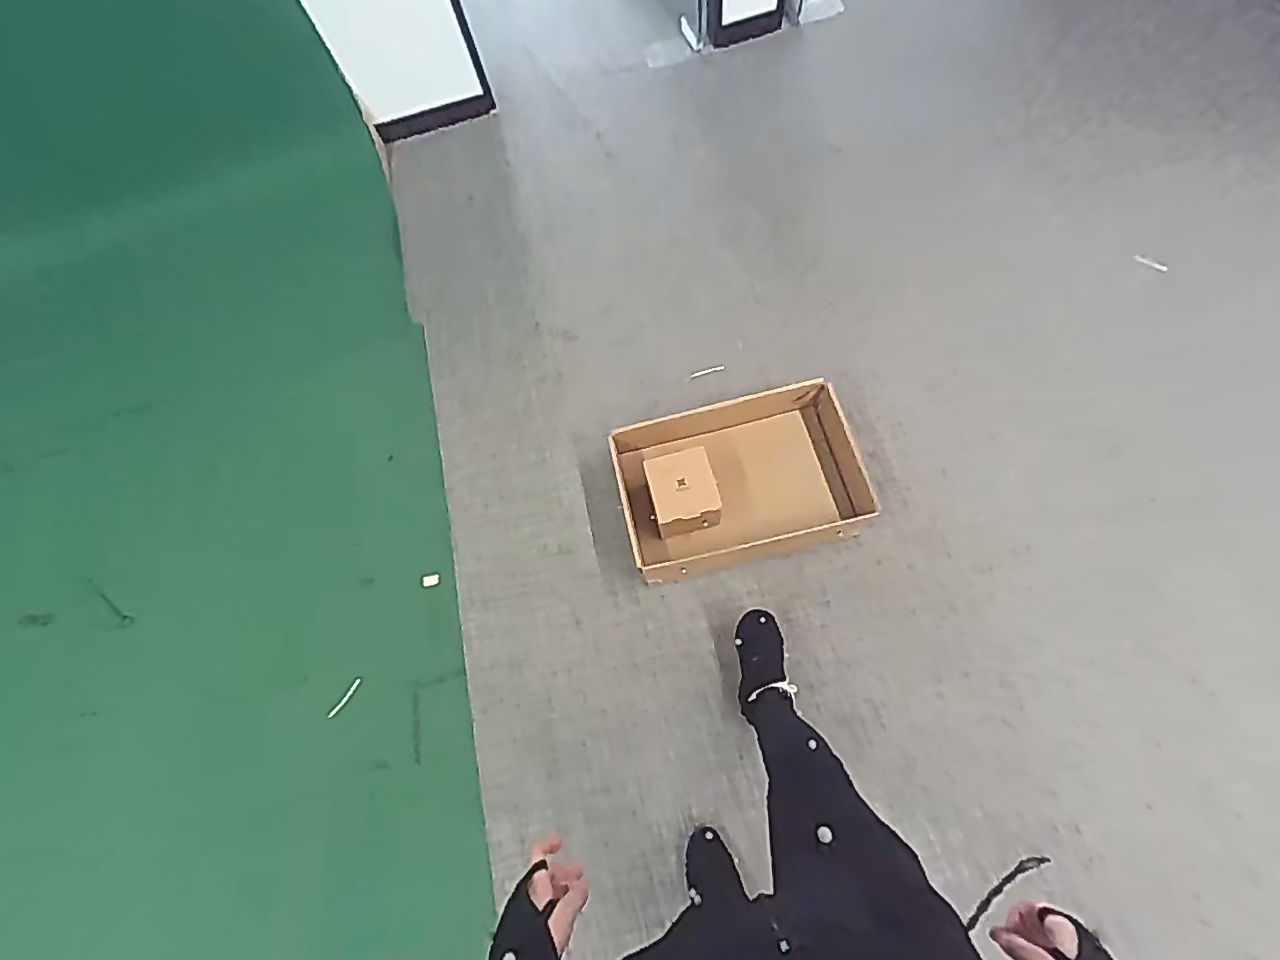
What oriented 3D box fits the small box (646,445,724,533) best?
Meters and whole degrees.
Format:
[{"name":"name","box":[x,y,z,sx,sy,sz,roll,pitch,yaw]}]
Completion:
[{"name":"small box","box":[0.119,0.033,1.434,0.168,0.176,0.179,-14,69,0]}]
